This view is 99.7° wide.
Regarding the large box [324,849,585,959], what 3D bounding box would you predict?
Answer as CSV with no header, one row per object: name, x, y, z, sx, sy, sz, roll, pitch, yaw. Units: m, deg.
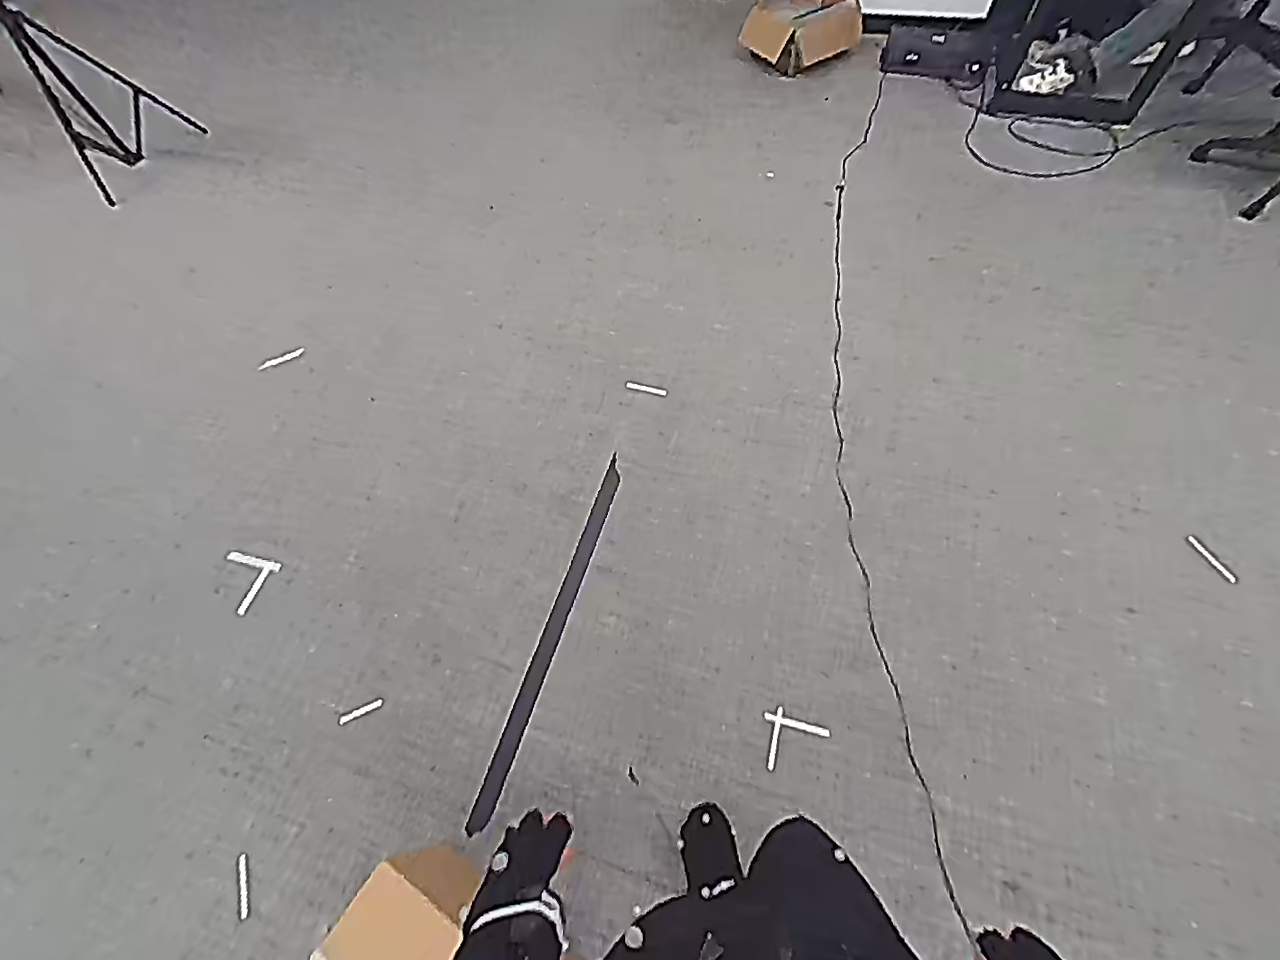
large box,-0.348,0.949,0.972,0.408,0.320,0.320,27,66,17
